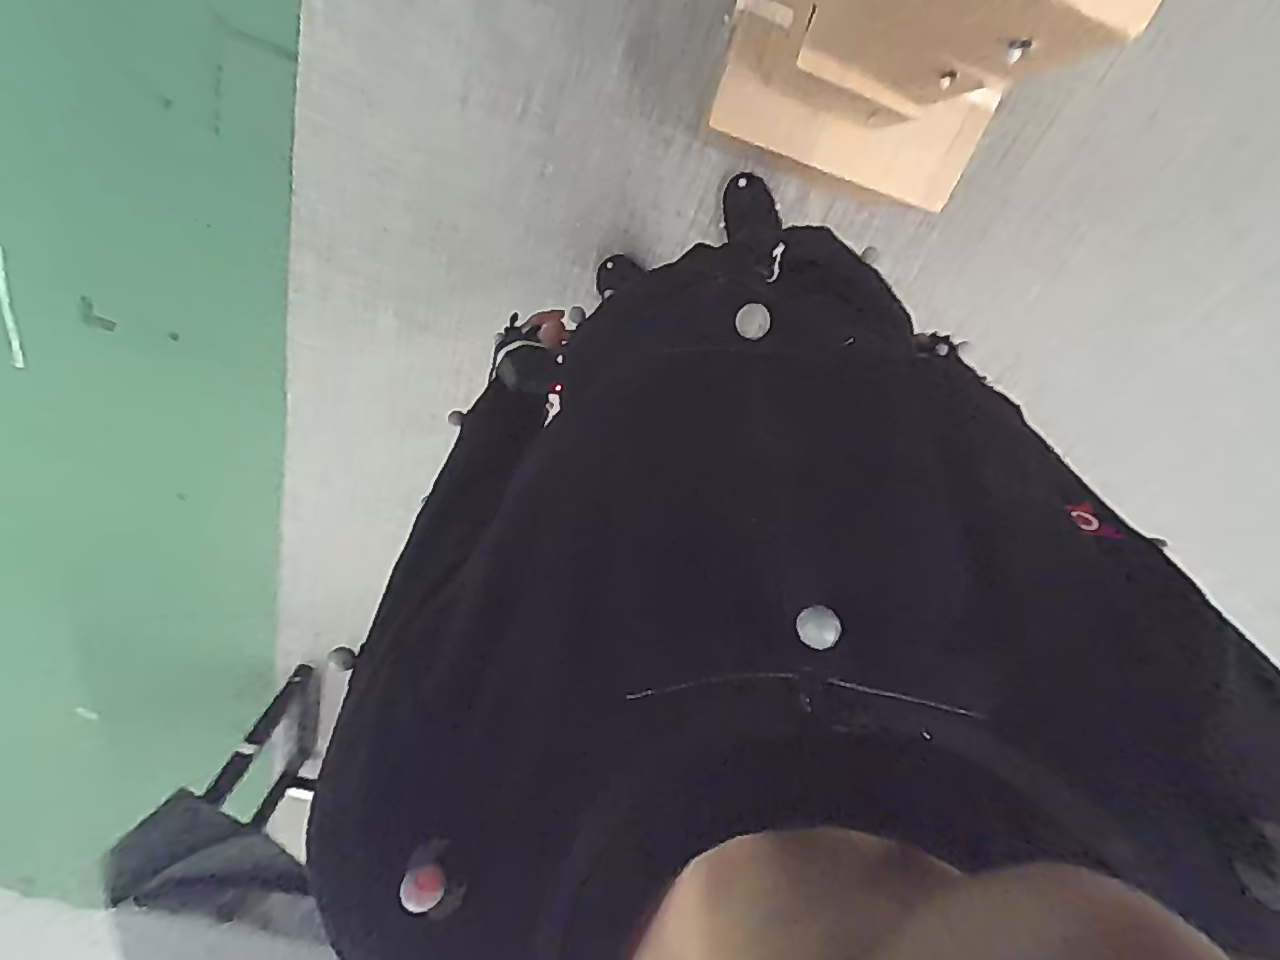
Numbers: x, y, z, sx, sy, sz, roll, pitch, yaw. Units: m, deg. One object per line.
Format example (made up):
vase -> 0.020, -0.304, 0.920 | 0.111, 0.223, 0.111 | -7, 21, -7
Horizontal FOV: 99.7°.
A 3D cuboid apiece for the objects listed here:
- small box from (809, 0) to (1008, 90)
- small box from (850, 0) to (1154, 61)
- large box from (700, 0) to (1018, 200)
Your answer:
small box -> 0.295, -0.521, 0.537 | 0.179, 0.176, 0.168 | 19, 118, -9
small box -> 0.287, -0.441, 0.396 | 0.179, 0.176, 0.168 | 16, 117, -7
large box -> 0.344, -0.697, 0.903 | 0.408, 0.320, 0.320 | 15, 120, -7
